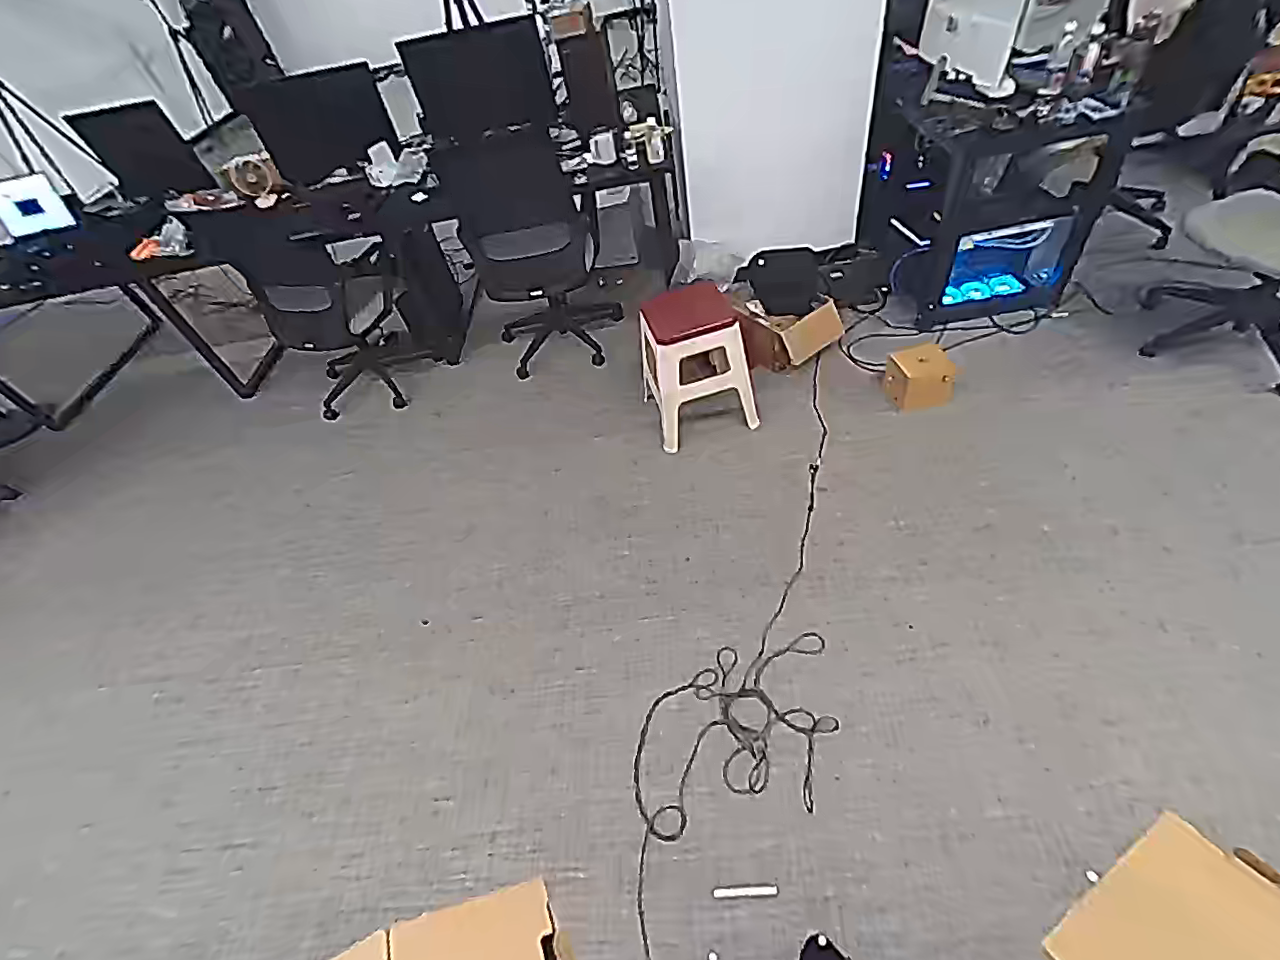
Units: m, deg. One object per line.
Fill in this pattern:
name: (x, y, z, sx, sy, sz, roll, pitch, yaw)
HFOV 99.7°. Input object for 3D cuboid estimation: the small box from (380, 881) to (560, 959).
small box: (-0.185, 0.589, 0.580, 0.179, 0.176, 0.168, 4, 27, -30)
